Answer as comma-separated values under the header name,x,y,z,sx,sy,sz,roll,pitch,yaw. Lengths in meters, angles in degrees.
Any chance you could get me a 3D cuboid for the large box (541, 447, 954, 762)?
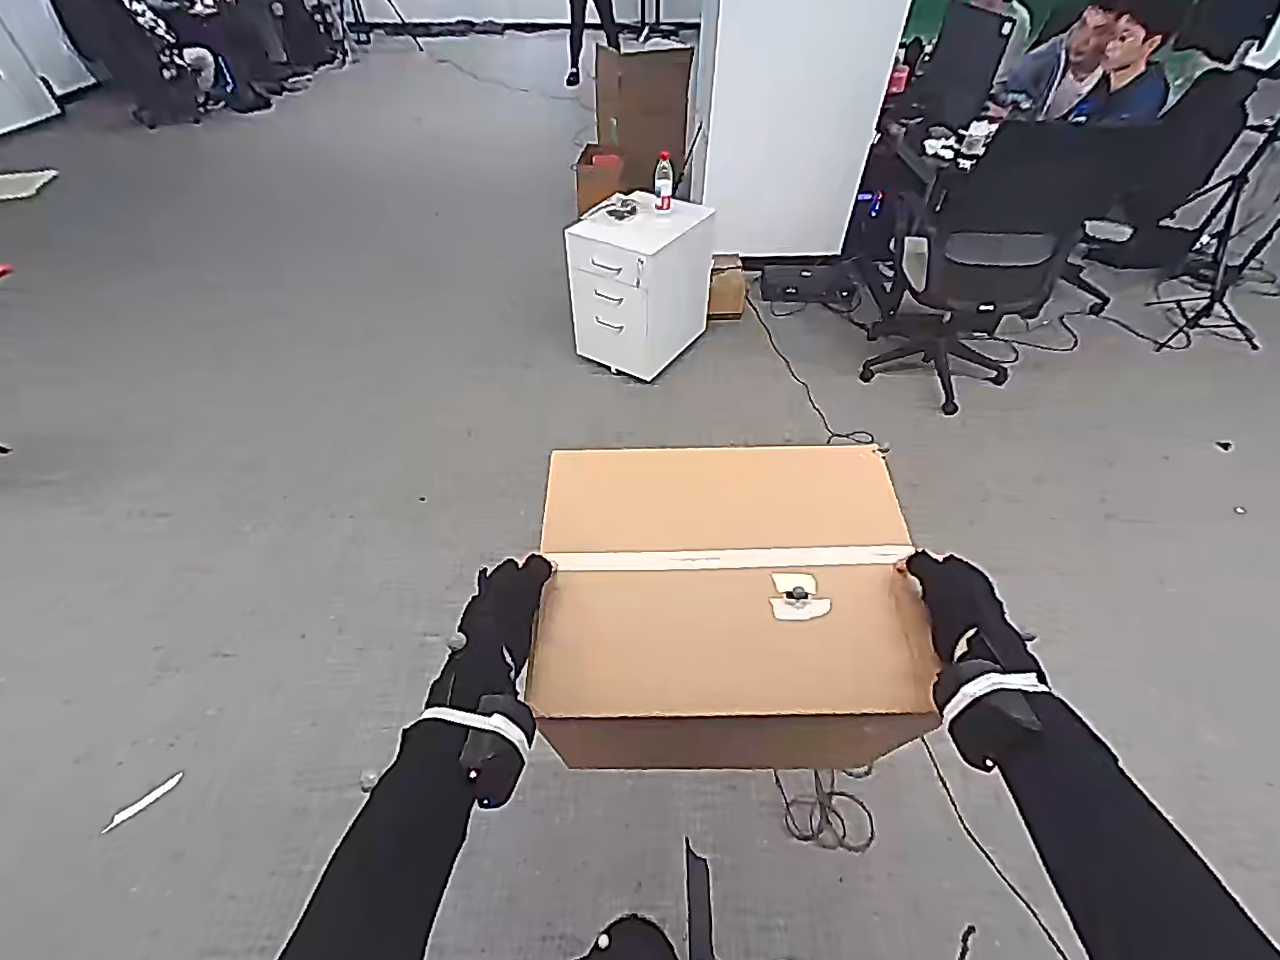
name,x,y,z,sx,sy,sz,roll,pitch,yaw
large box,0.100,0.174,0.718,0.408,0.320,0.320,-1,55,1
